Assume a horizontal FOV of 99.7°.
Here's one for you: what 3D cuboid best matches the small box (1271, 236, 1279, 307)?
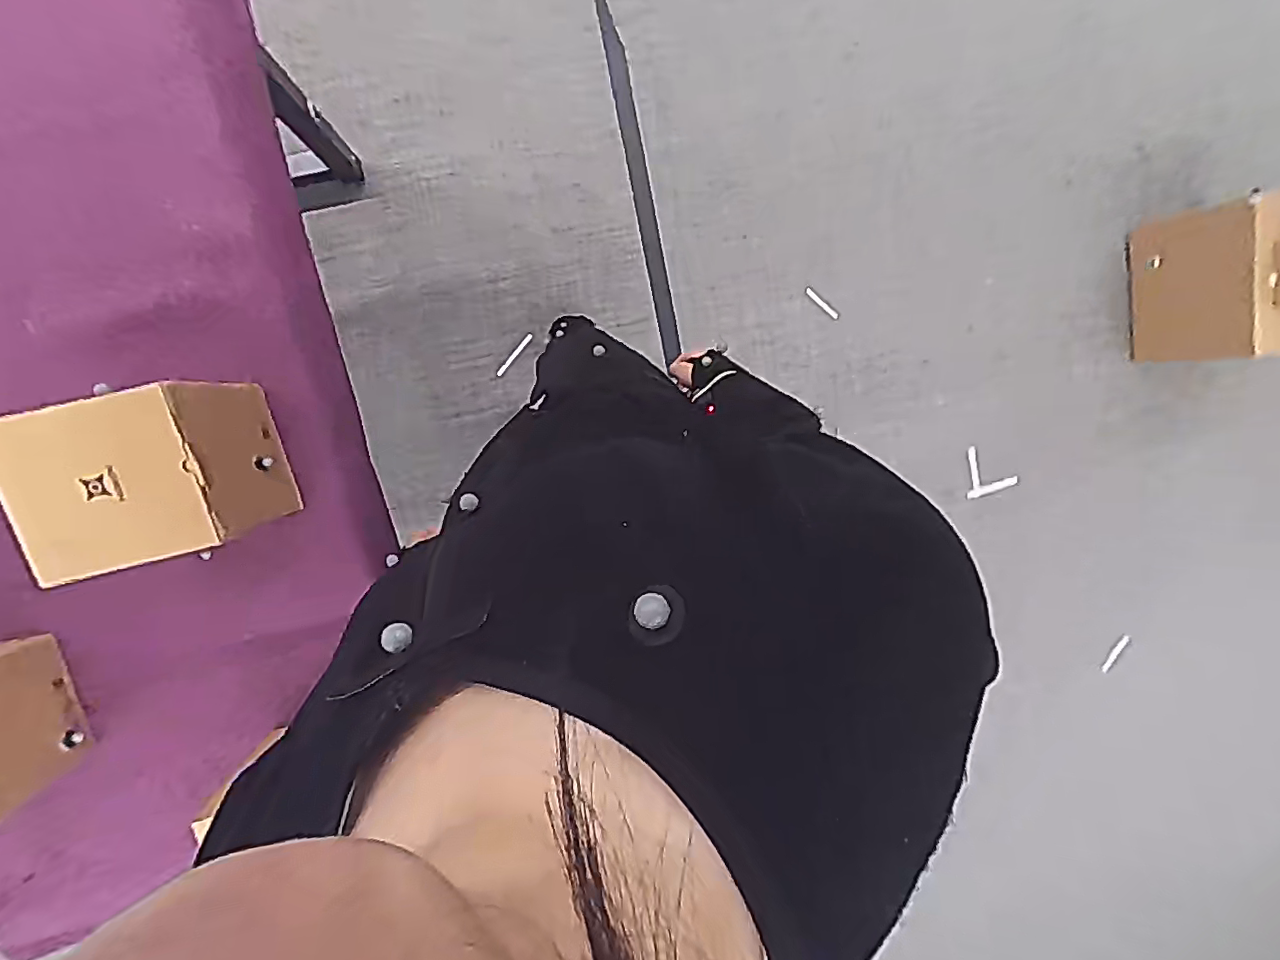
[{"bbox_3d":[1.682,-0.530,1.293,0.168,0.176,0.179,-14,101,-5],"label":"small box"}]

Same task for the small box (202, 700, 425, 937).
[{"bbox_3d":[-0.388,0.409,0.686,0.179,0.176,0.168,-13,99,-6],"label":"small box"}]

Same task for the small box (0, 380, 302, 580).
[{"bbox_3d":[-0.527,-0.009,0.605,0.179,0.176,0.168,-15,100,-5],"label":"small box"}]

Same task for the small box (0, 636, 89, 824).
[{"bbox_3d":[-0.789,0.297,0.609,0.179,0.176,0.168,-12,100,-7],"label":"small box"}]
